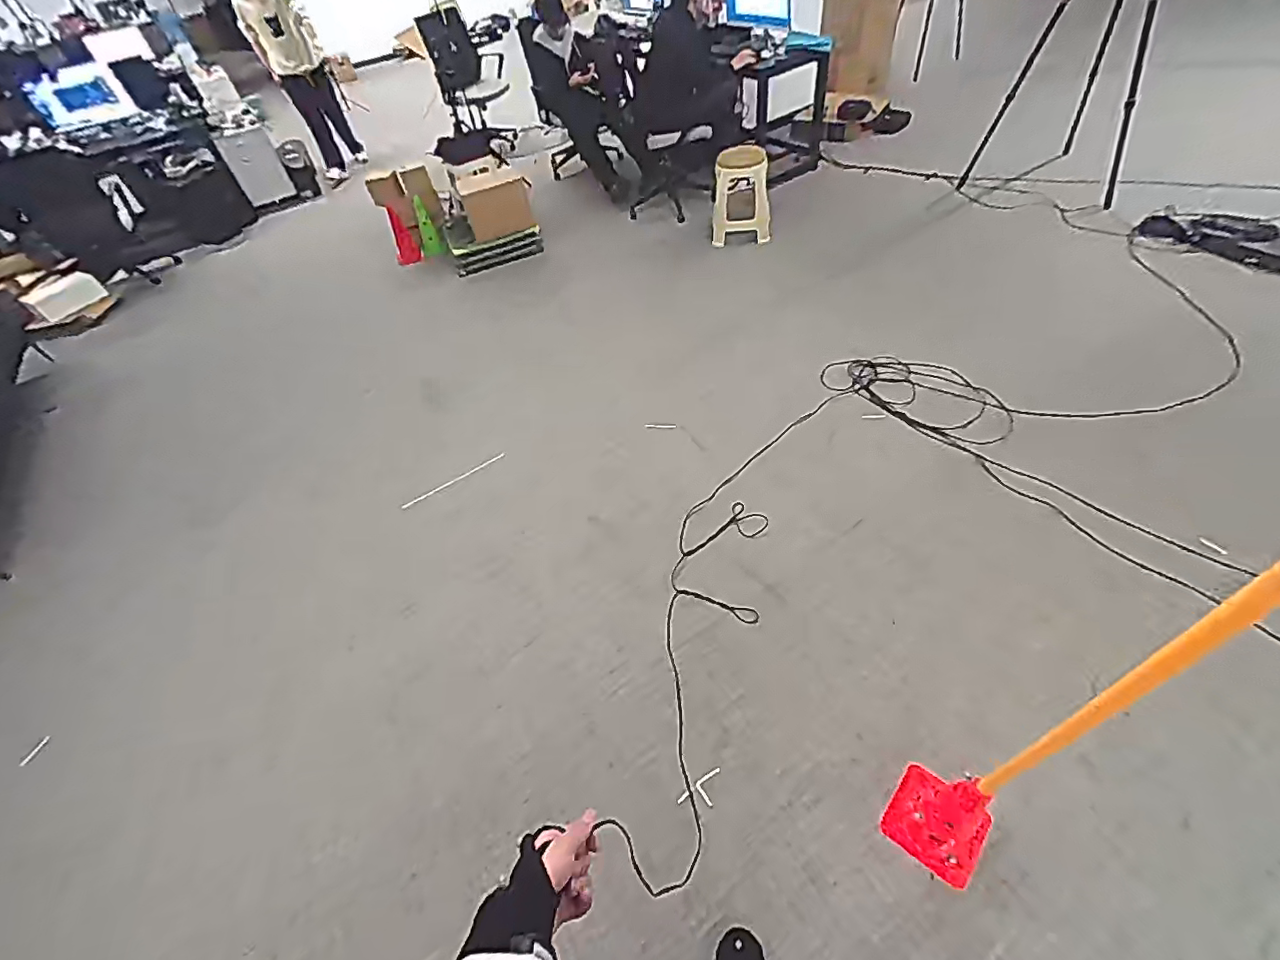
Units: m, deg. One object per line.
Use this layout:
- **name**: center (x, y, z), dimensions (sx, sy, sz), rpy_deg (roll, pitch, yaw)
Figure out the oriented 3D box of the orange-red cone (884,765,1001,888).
- **orange-red cone**: center (0.693, 0.705, 1.167), dimensions (0.198, 0.360, 0.199), rpy_deg (31, 59, 31)
